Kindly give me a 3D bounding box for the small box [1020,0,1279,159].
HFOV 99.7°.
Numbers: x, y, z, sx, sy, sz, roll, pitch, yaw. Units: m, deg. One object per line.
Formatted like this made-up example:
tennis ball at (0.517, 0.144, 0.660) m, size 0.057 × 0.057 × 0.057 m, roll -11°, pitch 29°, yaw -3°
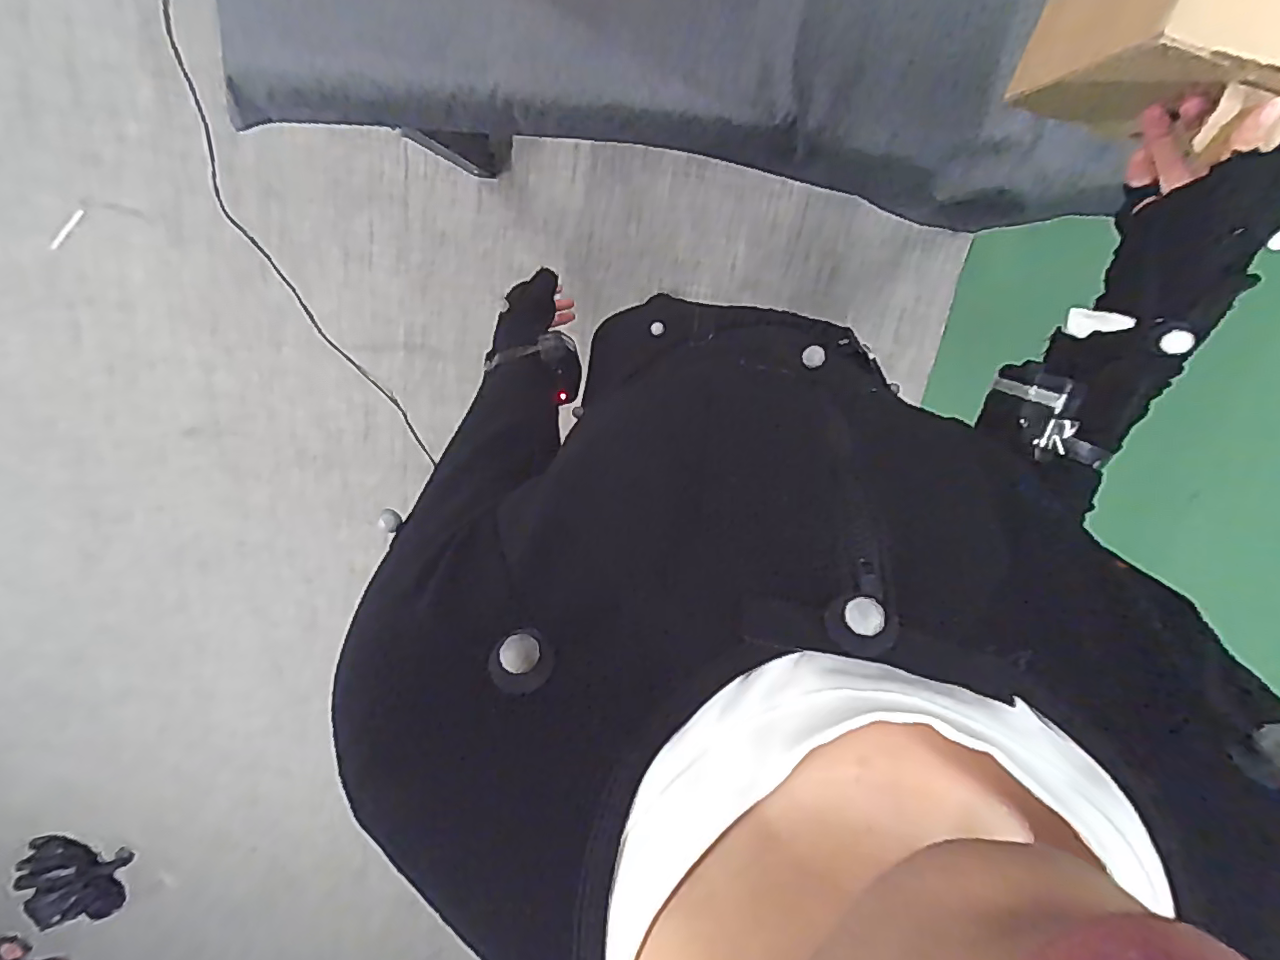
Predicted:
small box at (0.382, -0.317, 0.331) m, size 0.168 × 0.176 × 0.179 m, roll 15°, pitch 116°, yaw -1°
